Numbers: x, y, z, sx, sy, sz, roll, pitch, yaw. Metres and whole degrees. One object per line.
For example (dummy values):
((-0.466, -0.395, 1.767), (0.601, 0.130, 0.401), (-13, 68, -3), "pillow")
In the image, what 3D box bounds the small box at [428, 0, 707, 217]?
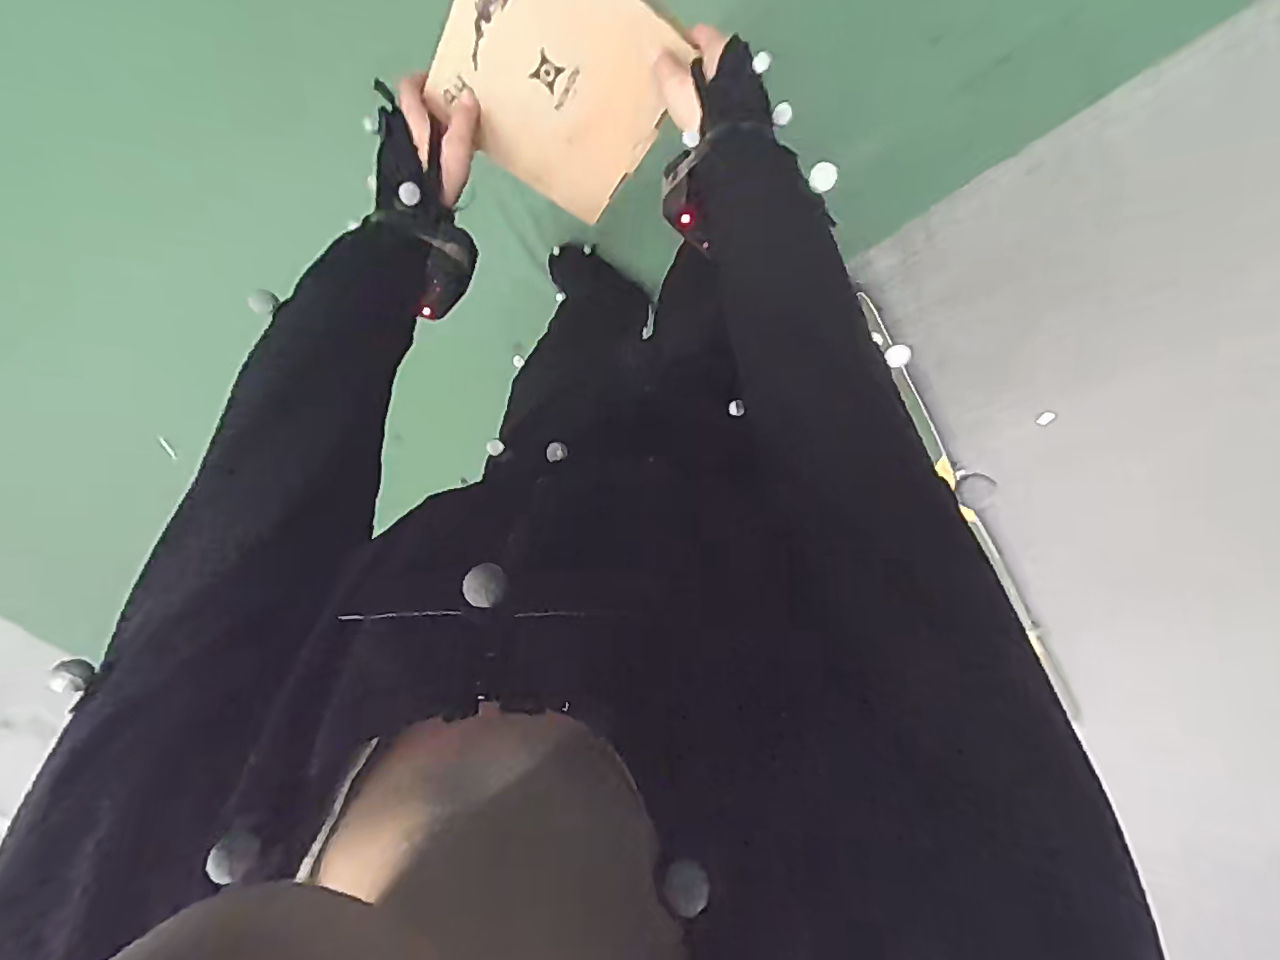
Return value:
((-0.062, -0.390, 0.496), (0.179, 0.176, 0.168), (27, 129, -26), "small box")
